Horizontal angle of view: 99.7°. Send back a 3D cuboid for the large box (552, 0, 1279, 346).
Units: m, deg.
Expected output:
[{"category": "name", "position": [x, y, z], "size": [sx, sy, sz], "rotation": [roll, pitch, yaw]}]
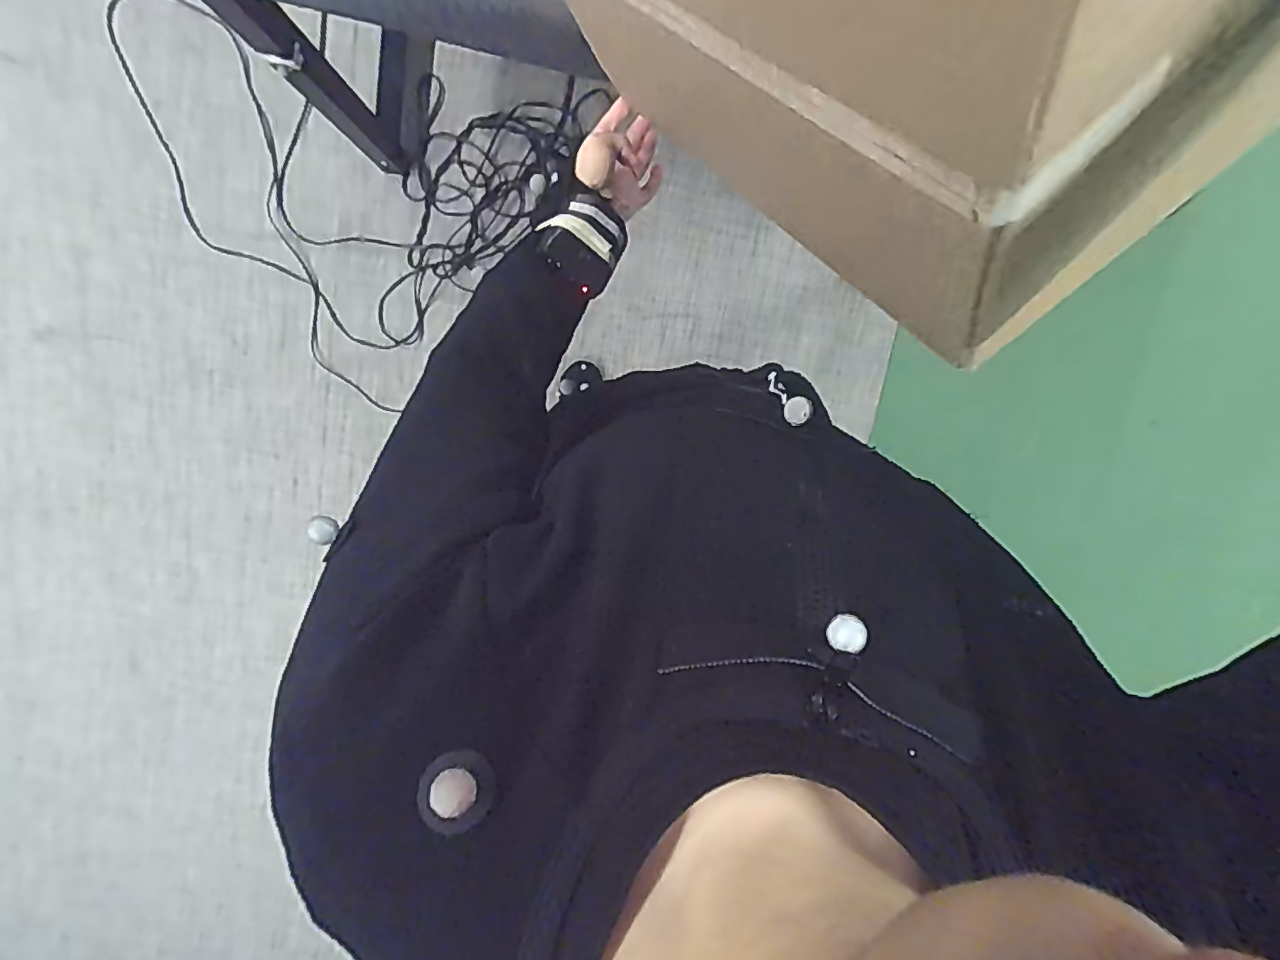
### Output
[{"category": "large box", "position": [0.134, -0.343, 0.257], "size": [0.320, 0.320, 0.408], "rotation": [-44, 64, 10]}]
